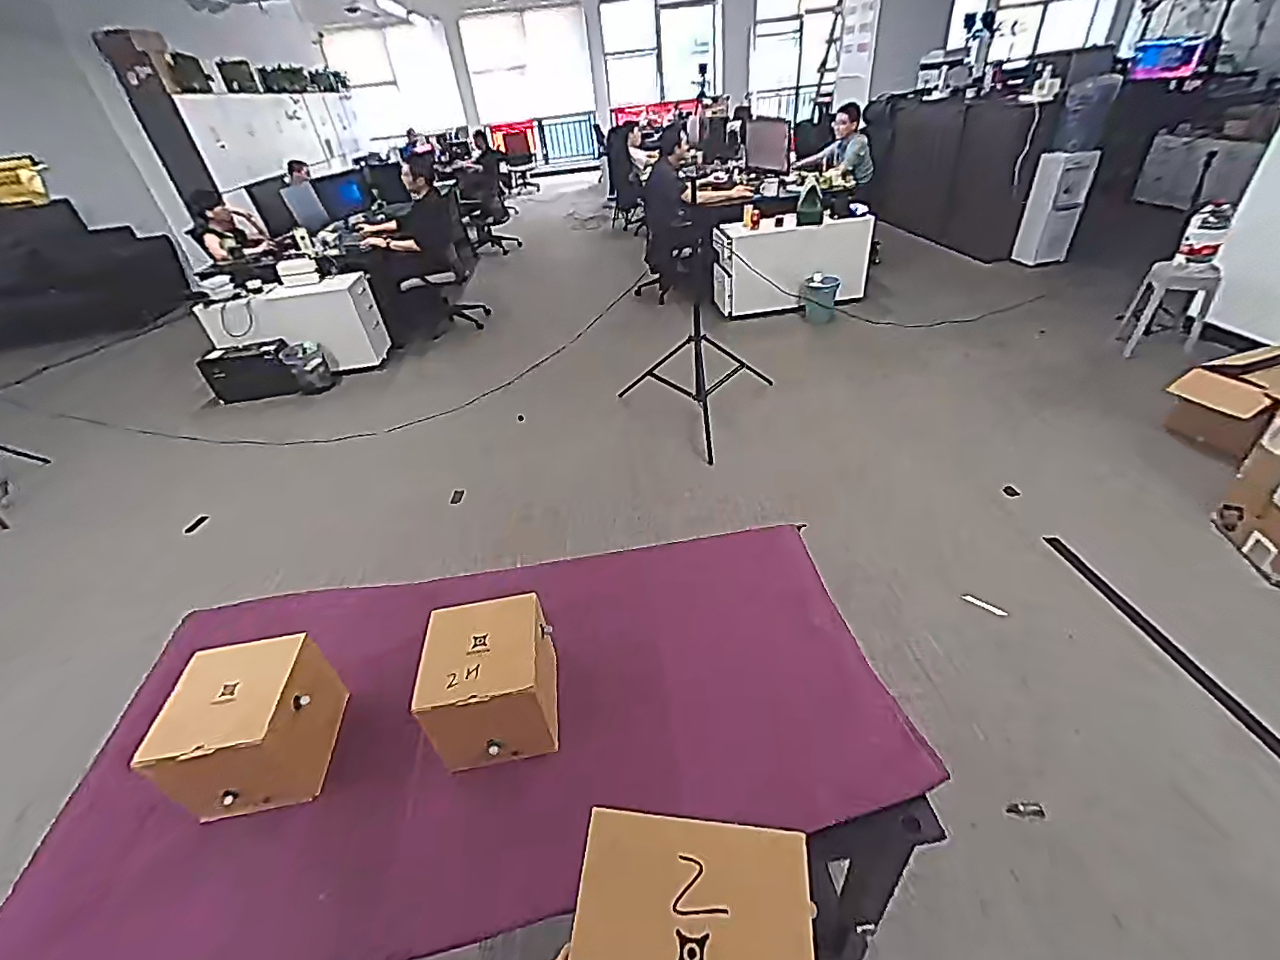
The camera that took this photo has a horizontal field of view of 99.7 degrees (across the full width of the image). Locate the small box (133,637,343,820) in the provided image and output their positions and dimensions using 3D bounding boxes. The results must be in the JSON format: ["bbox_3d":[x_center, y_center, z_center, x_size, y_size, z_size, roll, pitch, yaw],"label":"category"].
[{"bbox_3d":[-0.571,0.366,0.804,0.168,0.176,0.179,-9,37,-5],"label":"small box"}]

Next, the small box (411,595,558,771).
[{"bbox_3d":[-0.224,0.306,0.826,0.168,0.176,0.179,-10,37,-3],"label":"small box"}]
